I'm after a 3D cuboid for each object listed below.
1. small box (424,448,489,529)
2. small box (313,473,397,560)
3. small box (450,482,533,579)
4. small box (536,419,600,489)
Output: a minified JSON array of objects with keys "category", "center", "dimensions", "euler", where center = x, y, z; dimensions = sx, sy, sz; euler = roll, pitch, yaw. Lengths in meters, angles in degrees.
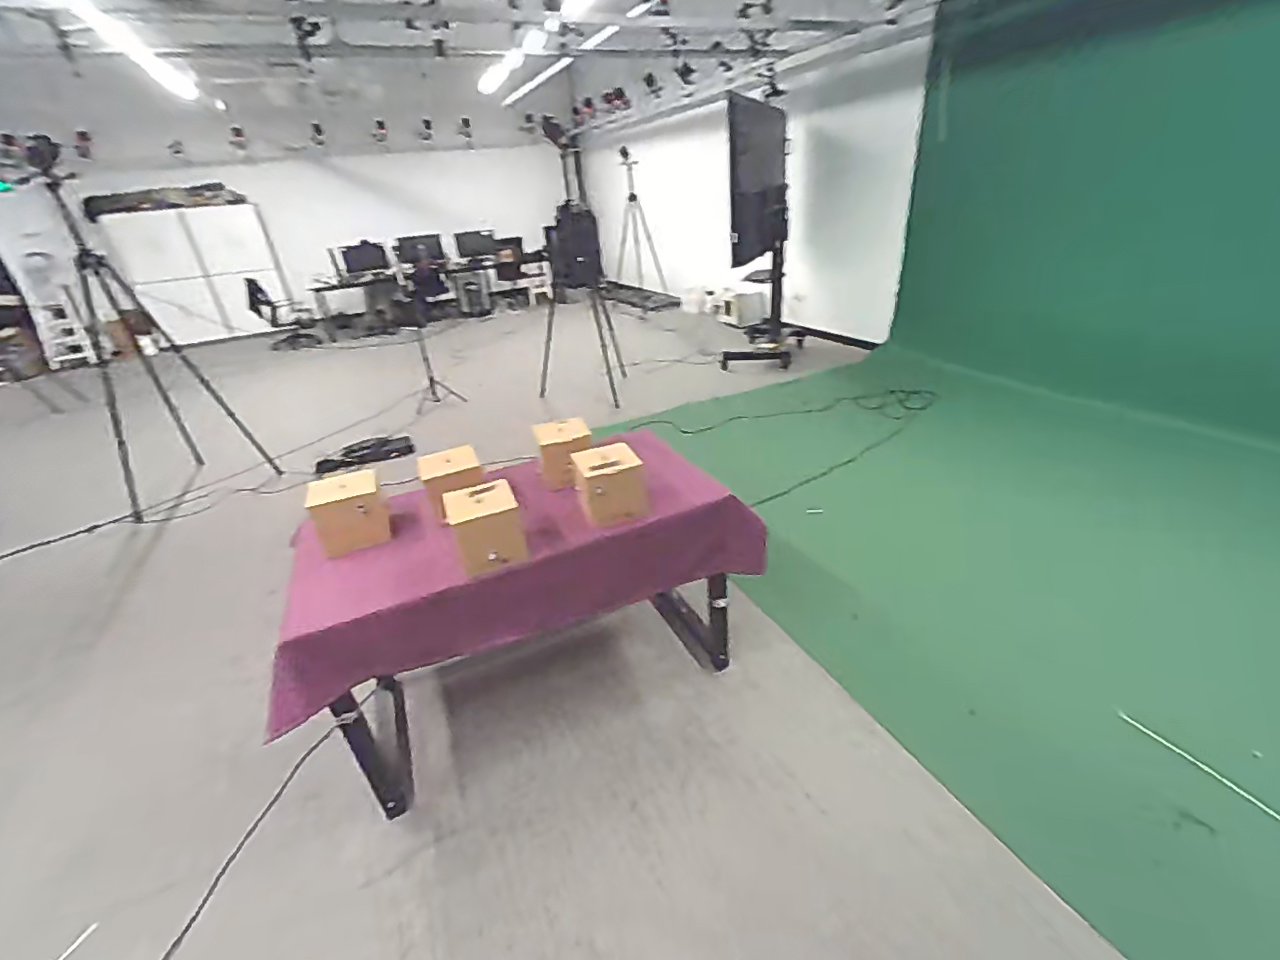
[{"category":"small box","center":[-0.553,0.024,1.659],"dimensions":[0.168,0.176,0.179],"euler":[-17,30,-18]},{"category":"small box","center":[-0.810,0.104,1.559],"dimensions":[0.179,0.176,0.168],"euler":[-16,29,-18]},{"category":"small box","center":[-0.391,0.130,1.422],"dimensions":[0.168,0.176,0.179],"euler":[-16,30,-17]},{"category":"small box","center":[-0.236,-0.082,1.786],"dimensions":[0.168,0.176,0.179],"euler":[-13,30,-13]}]
